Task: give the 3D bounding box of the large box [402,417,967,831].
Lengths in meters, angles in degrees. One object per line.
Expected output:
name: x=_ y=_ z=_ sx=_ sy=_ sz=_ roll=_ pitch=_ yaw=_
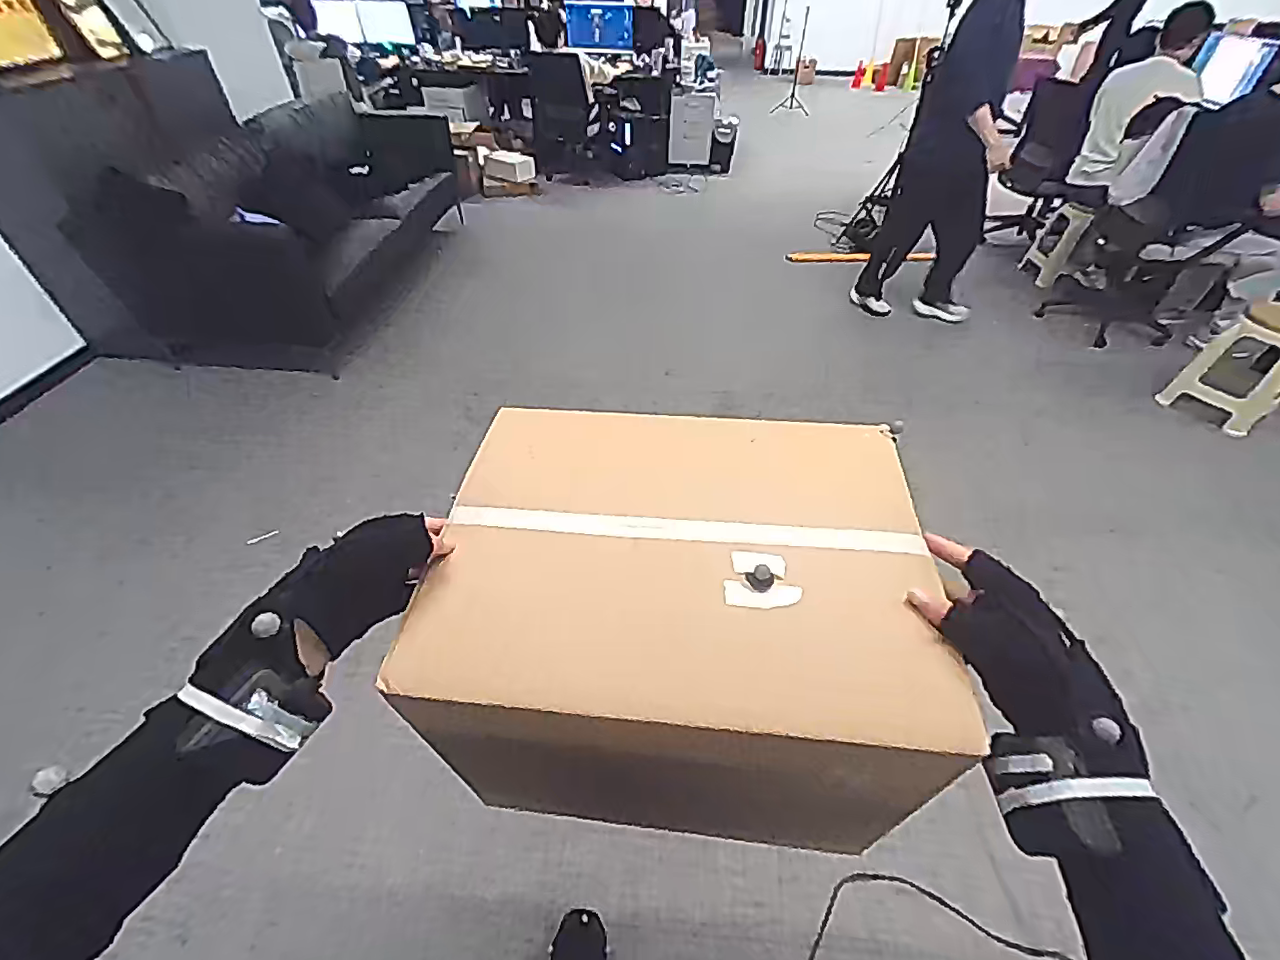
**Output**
large box: x=0.040 y=0.150 z=0.582 sx=0.408 sy=0.320 sz=0.320 roll=3 pitch=47 yaw=6
